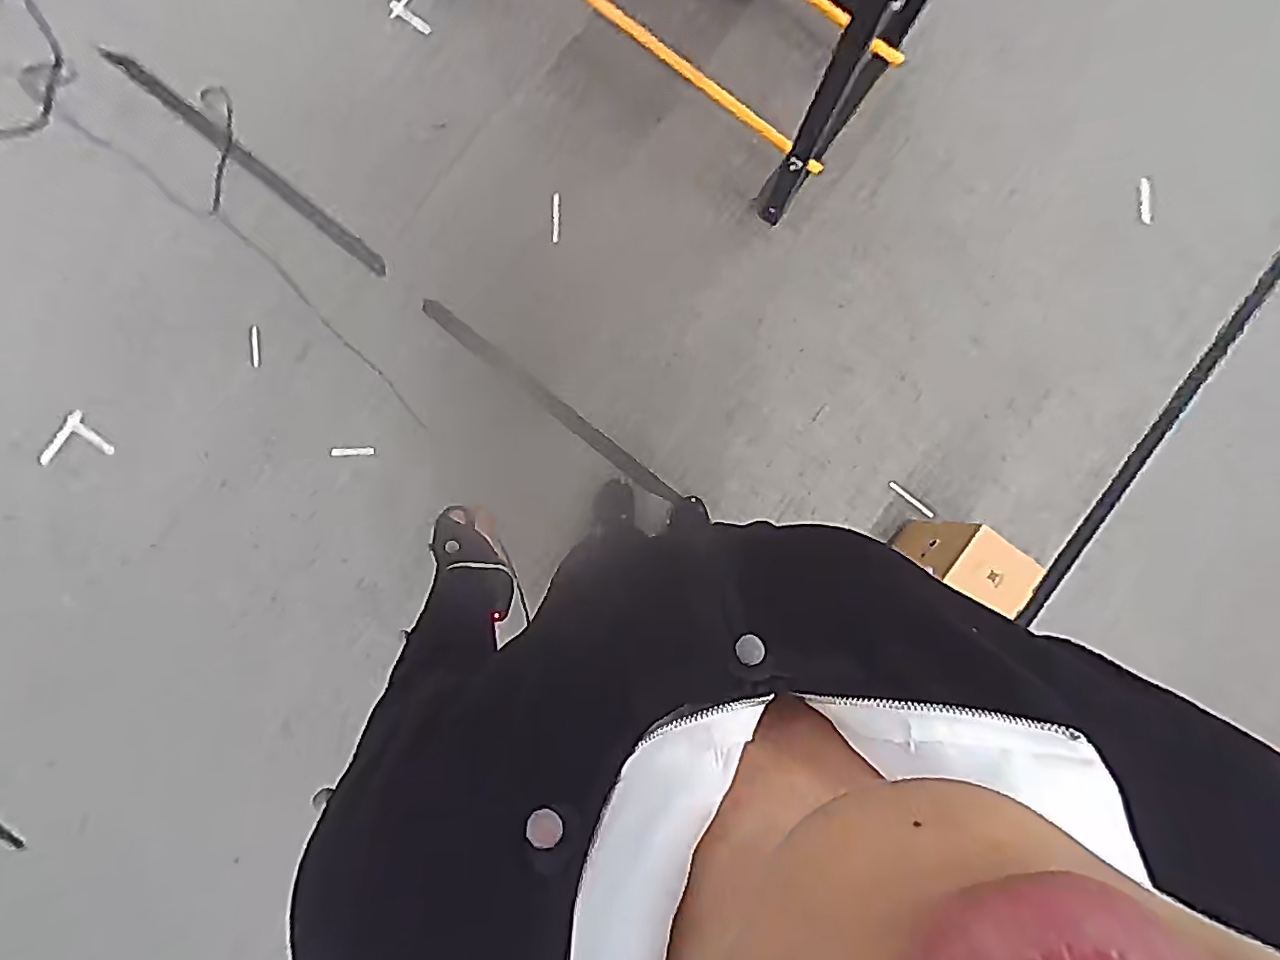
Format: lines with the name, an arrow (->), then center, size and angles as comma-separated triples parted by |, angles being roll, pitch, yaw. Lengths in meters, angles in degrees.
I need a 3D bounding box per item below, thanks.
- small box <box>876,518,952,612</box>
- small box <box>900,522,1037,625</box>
small box -> 0.760, 0.216, 1.433 | 0.168, 0.176, 0.179 | 36, 88, -1
small box -> 0.760, 0.209, 1.271 | 0.179, 0.176, 0.168 | 37, 87, 1
